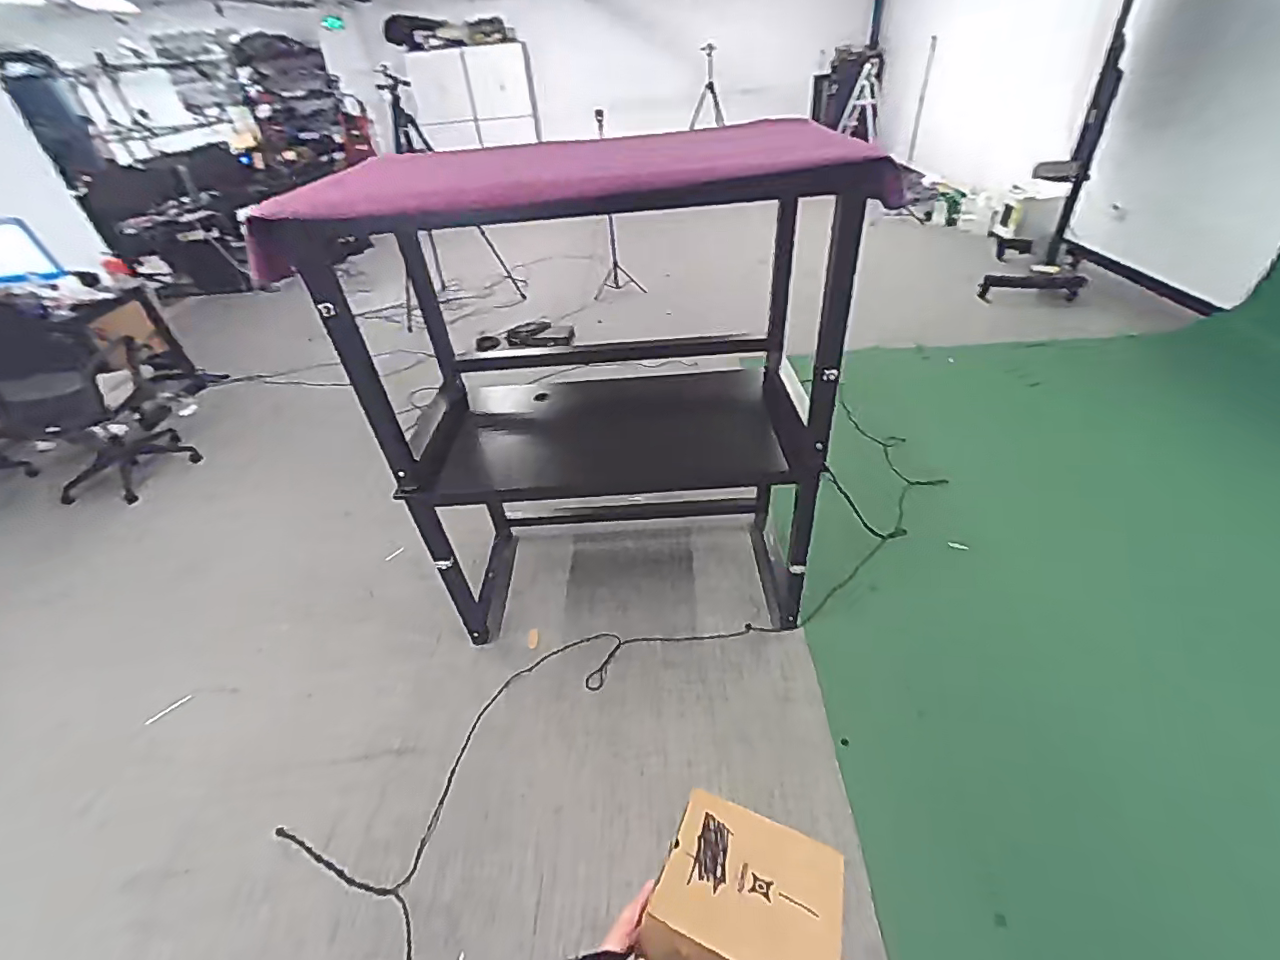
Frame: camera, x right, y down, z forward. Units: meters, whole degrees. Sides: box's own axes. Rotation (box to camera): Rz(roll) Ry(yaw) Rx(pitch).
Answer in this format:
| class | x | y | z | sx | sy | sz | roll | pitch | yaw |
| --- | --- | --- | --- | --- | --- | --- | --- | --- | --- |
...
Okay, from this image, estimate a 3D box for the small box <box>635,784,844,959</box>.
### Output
| class | x | y | z | sx | sy | sz | roll | pitch | yaw |
| --- | --- | --- | --- | --- | --- | --- | --- | --- | --- |
| small box | 0.100 | 0.474 | 0.565 | 0.179 | 0.176 | 0.168 | 15 | 17 | 19 |
